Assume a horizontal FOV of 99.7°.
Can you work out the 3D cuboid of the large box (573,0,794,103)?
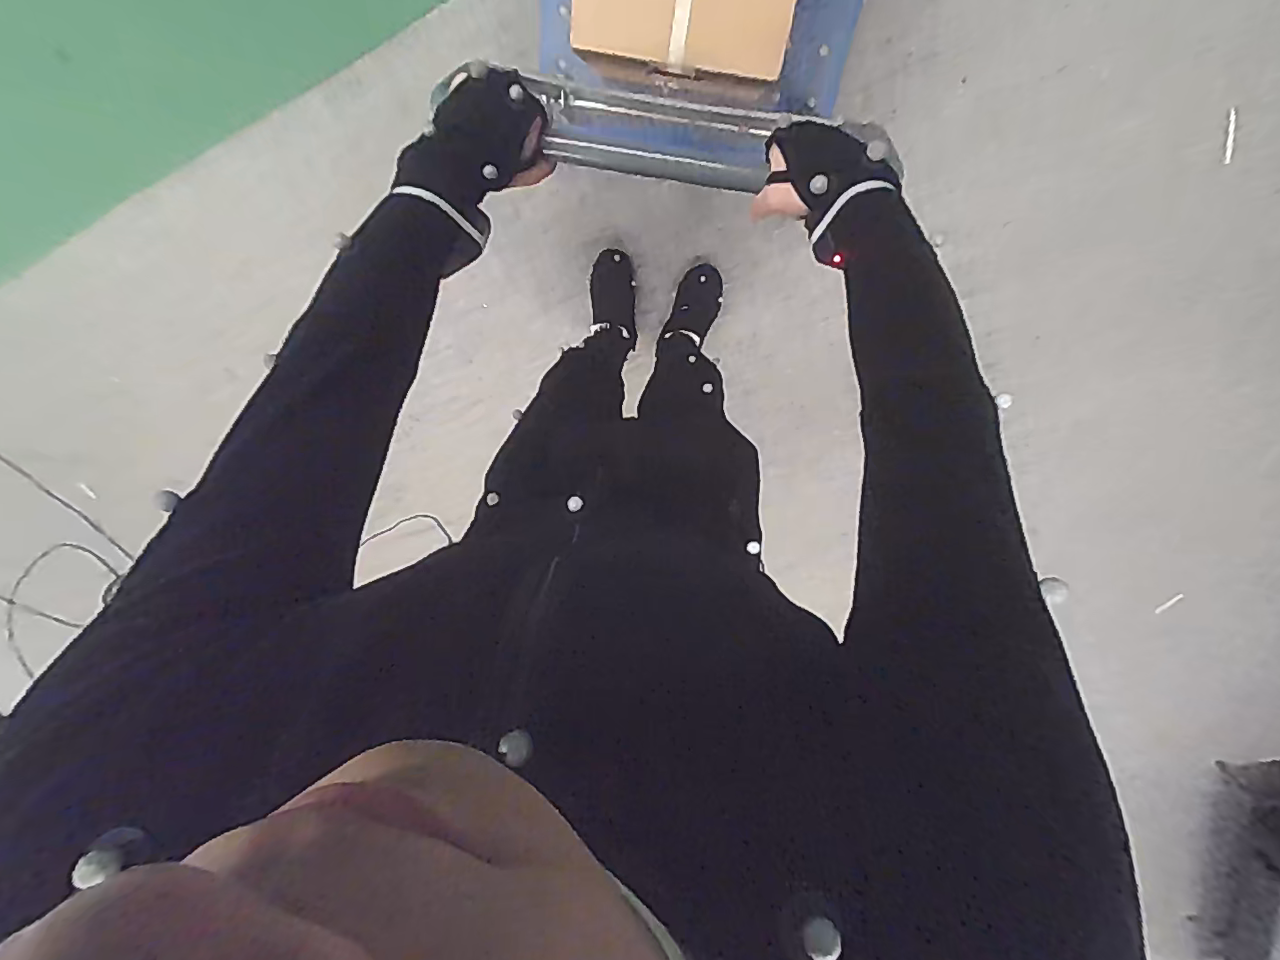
[{"bbox_3d":[0.092,-0.858,0.838,0.320,0.320,0.408,10,120,0],"label":"large box"}]
